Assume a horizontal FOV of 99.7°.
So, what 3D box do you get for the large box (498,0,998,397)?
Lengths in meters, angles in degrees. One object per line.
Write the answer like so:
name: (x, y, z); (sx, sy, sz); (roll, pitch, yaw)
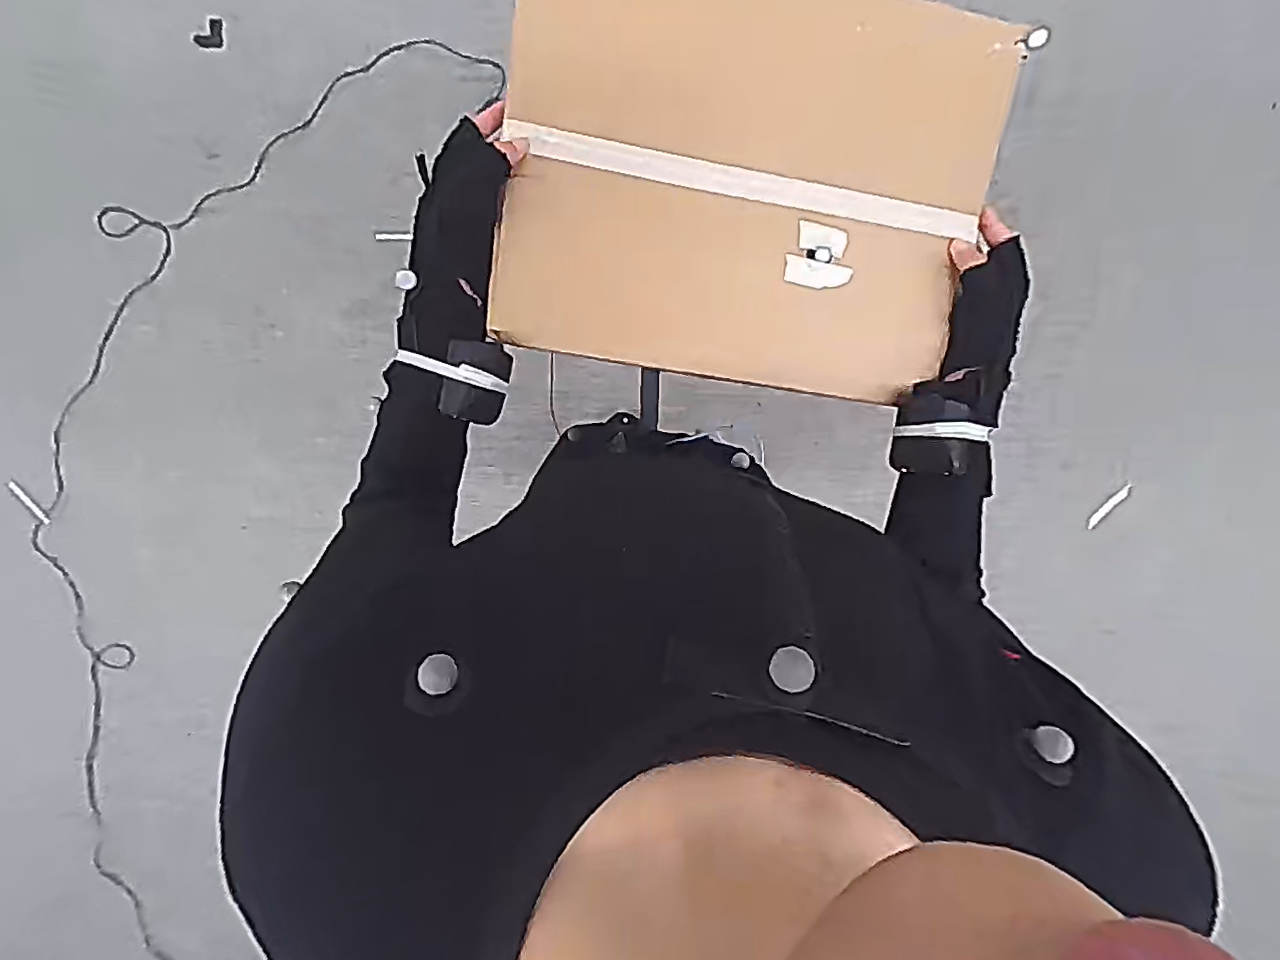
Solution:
large box: (0.072, -0.279, 0.604); (0.408, 0.320, 0.320); (7, 103, -8)
